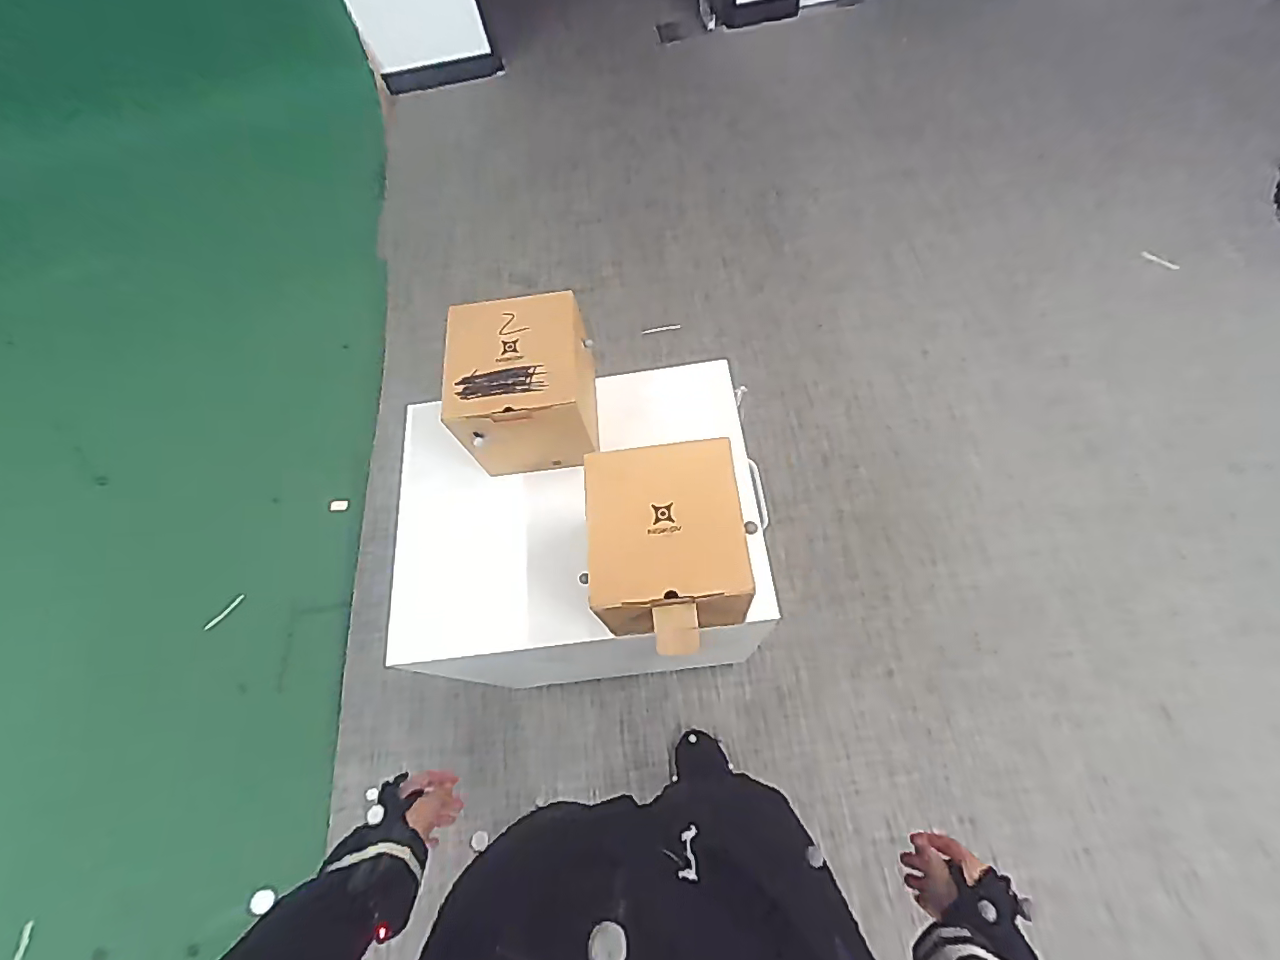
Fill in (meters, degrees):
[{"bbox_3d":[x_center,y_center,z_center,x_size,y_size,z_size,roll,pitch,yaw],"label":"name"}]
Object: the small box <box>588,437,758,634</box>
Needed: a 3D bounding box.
[{"bbox_3d":[0.035,0.072,0.634,0.168,0.176,0.179,-7,65,3],"label":"small box"}]
